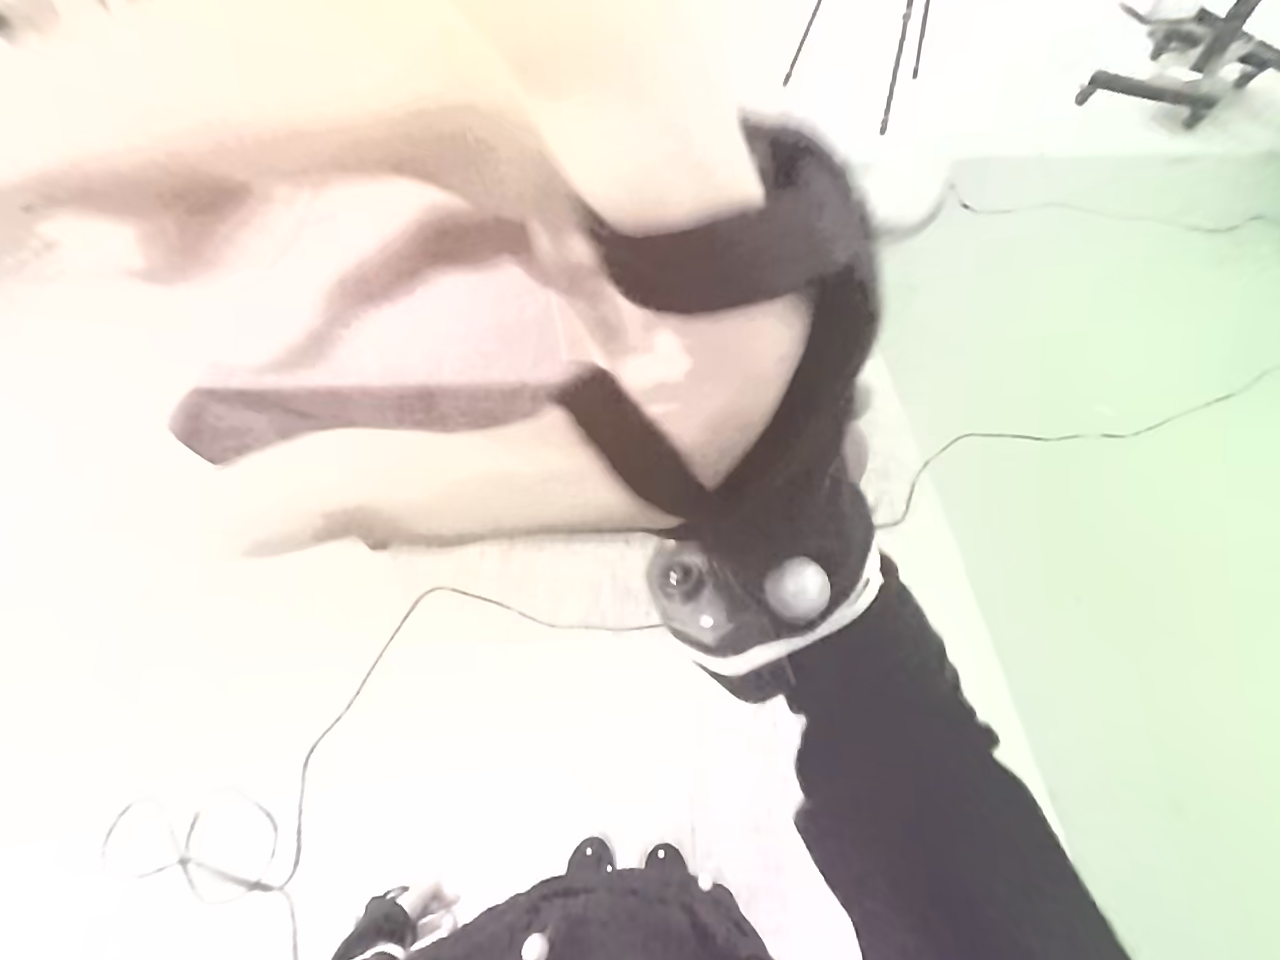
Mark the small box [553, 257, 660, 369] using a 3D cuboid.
[{"bbox_3d":[-0.055,-0.332,1.039,0.179,0.176,0.168,5,54,5],"label":"small box"}]
